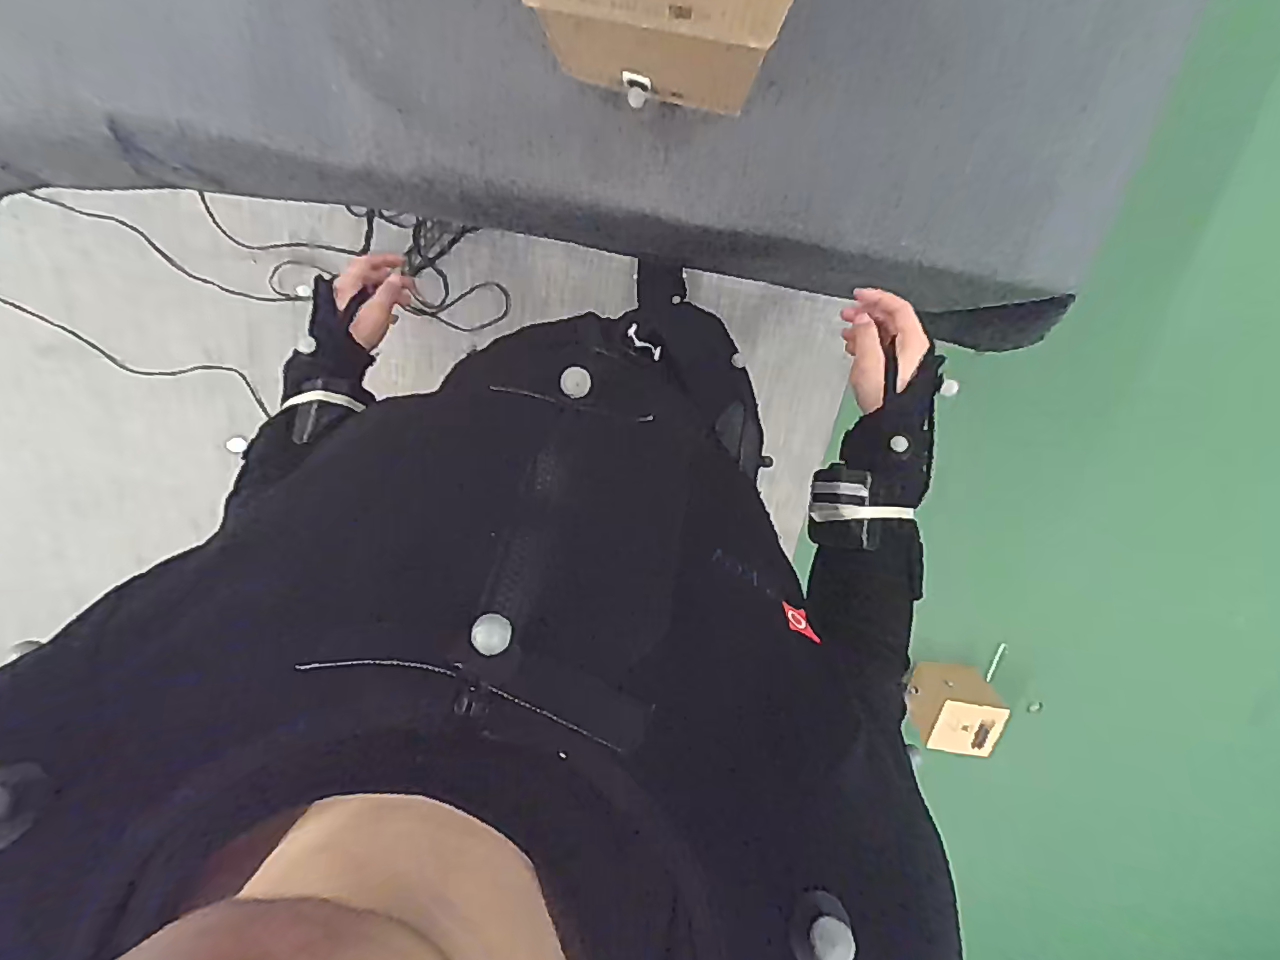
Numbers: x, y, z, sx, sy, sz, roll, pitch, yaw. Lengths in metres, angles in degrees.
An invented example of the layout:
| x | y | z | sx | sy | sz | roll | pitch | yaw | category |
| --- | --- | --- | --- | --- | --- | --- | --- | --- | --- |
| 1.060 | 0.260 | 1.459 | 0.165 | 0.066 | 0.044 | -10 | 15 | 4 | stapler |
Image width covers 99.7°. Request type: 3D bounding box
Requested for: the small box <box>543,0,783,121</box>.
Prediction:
| x | y | z | sx | sy | sz | roll | pitch | yaw | category |
| --- | --- | --- | --- | --- | --- | --- | --- | --- | --- |
| 0.029 | -0.399 | 0.396 | 0.168 | 0.176 | 0.179 | 11 | 110 | -1 | small box |
